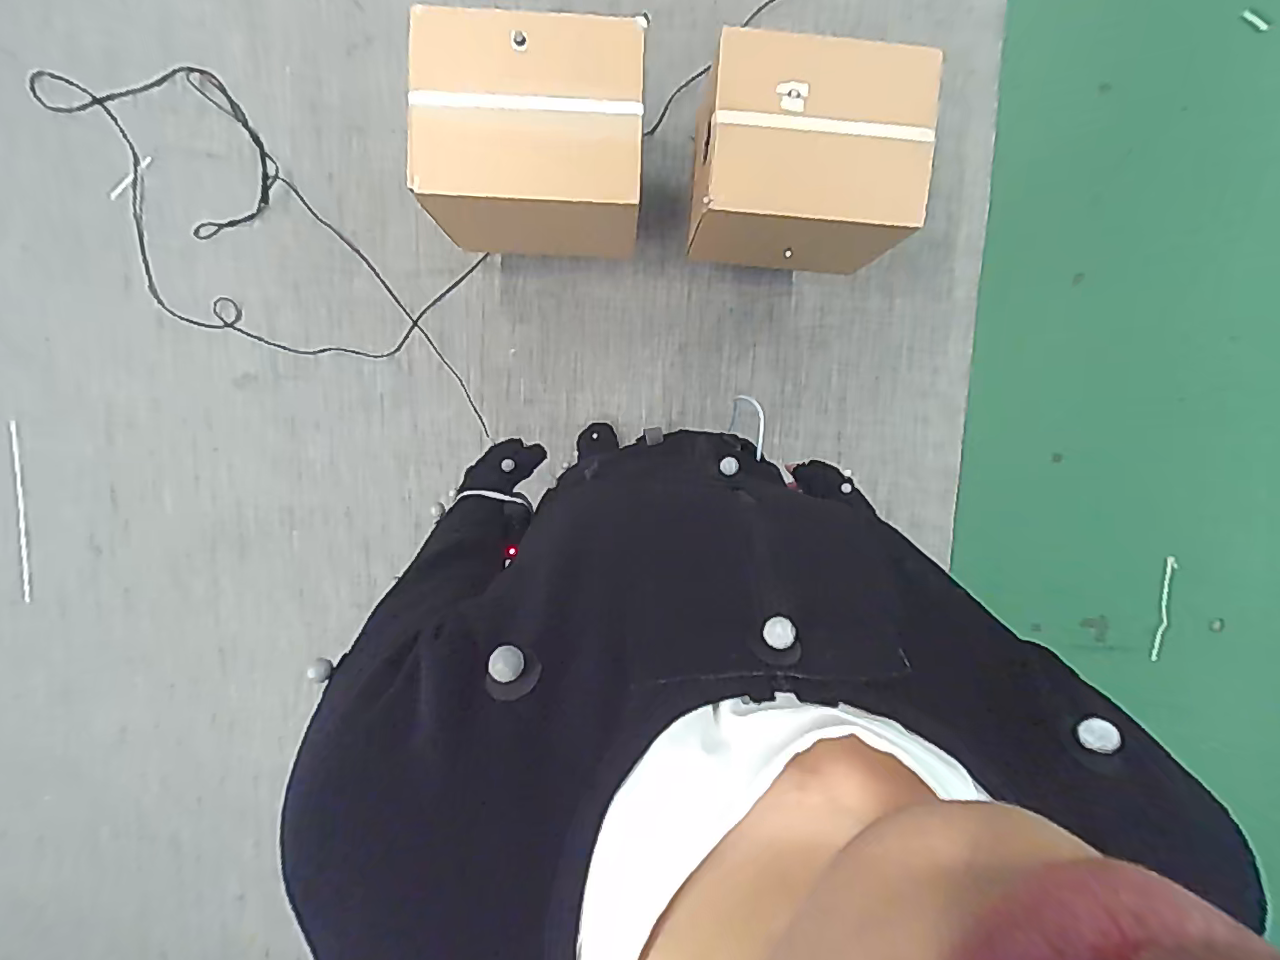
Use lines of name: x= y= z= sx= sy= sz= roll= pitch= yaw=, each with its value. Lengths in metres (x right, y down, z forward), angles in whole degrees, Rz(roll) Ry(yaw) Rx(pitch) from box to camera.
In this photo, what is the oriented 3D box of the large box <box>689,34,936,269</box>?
large box: x=0.329 y=-0.650 z=1.134 sx=0.408 sy=0.320 sz=0.320 roll=4 pitch=95 yaw=-2
